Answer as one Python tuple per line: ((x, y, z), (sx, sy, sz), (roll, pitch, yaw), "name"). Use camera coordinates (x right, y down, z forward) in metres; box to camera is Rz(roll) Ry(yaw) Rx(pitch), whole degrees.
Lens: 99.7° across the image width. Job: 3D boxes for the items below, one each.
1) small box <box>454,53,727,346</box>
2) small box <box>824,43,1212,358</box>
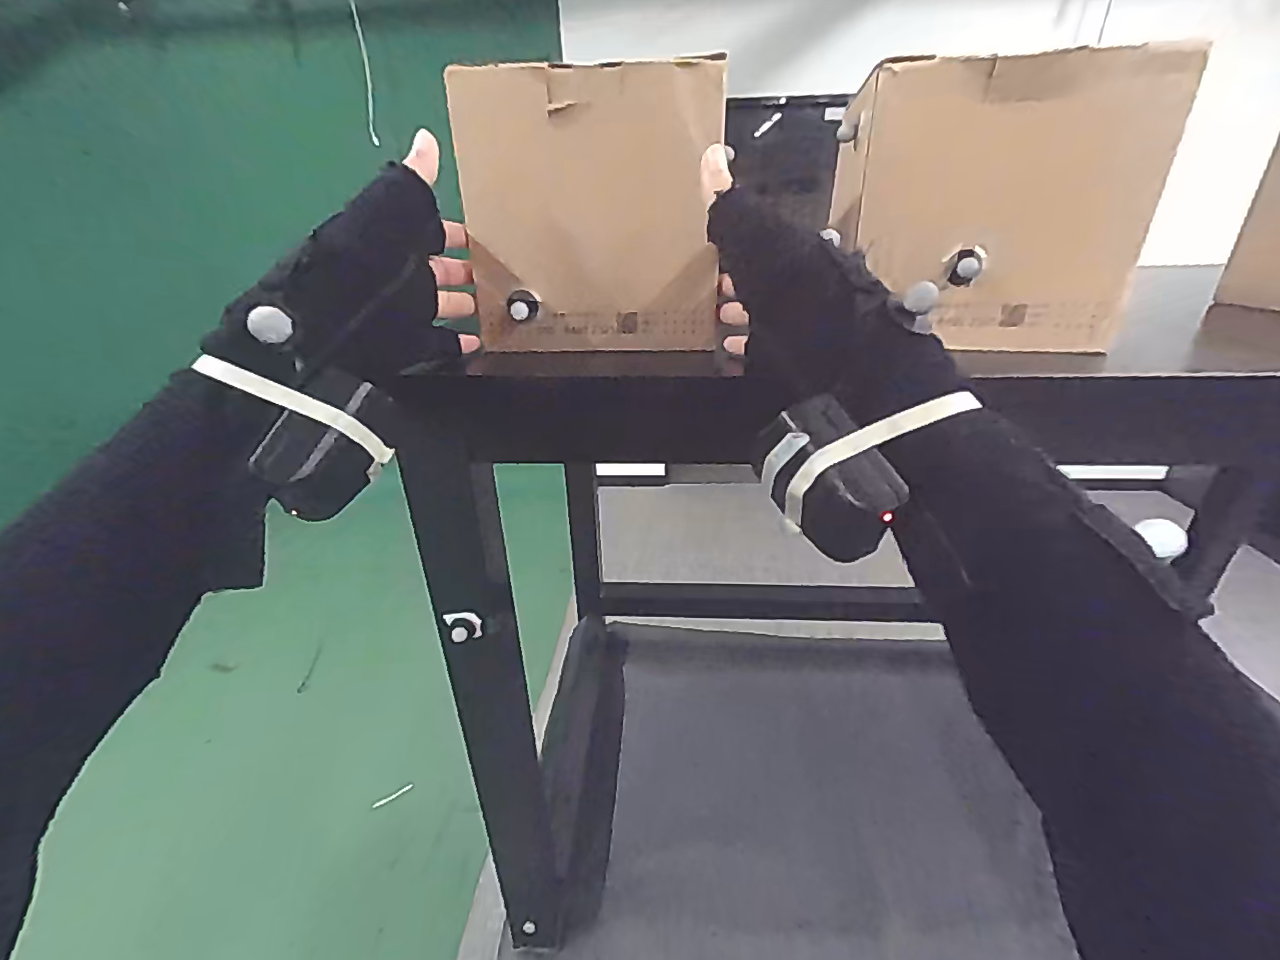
((-0.024, -0.202, 0.421), (0.168, 0.176, 0.179), (1, 25, 2), "small box")
((0.240, -0.197, 0.408), (0.168, 0.176, 0.179), (4, 27, 11), "small box")
